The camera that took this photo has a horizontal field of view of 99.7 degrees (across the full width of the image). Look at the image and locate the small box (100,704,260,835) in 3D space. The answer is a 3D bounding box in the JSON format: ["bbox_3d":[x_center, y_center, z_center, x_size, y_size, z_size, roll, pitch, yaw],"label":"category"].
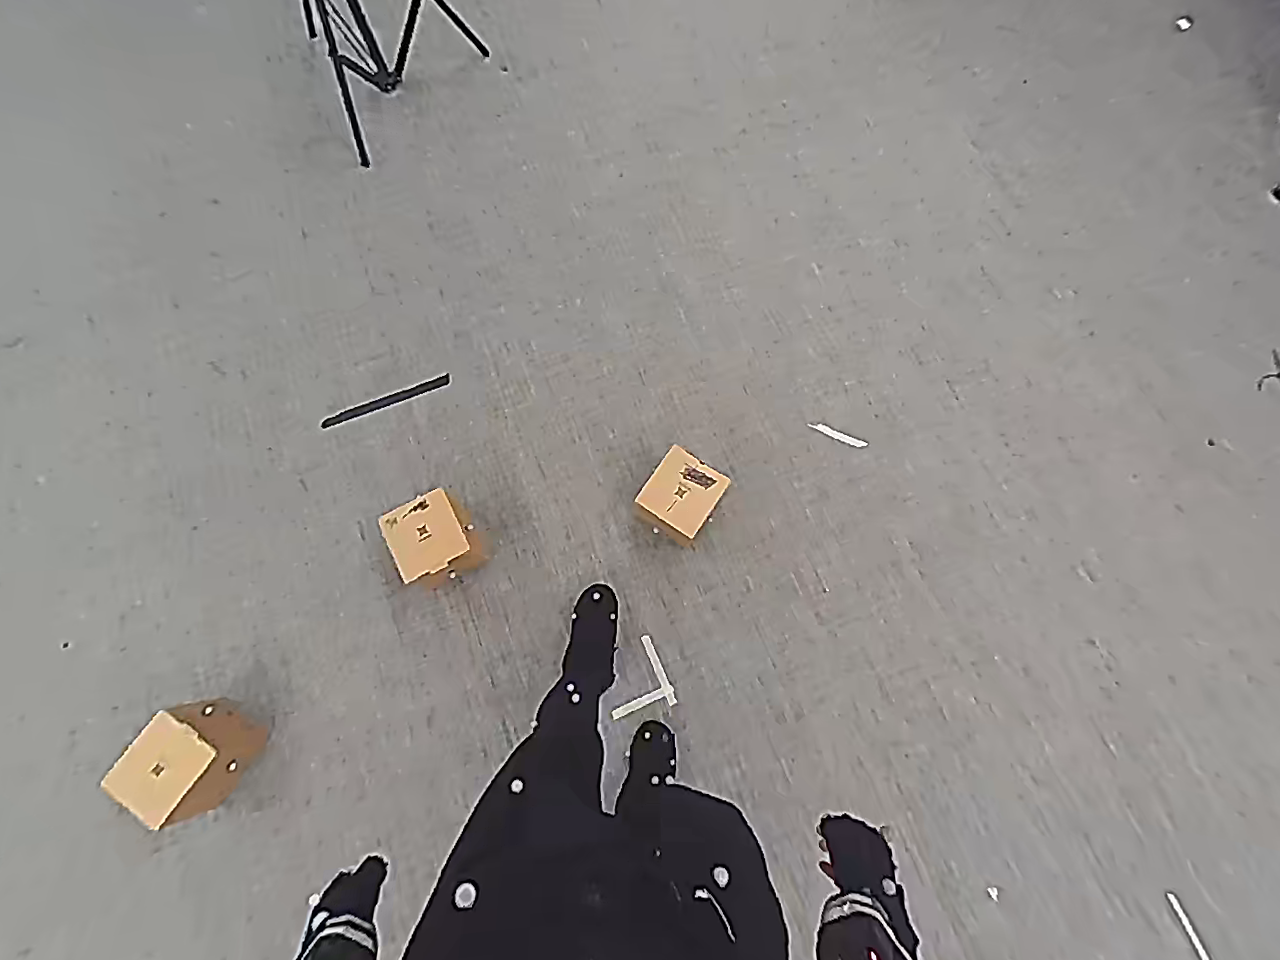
[{"bbox_3d":[-0.982,0.615,1.178,0.168,0.176,0.179,31,77,9],"label":"small box"}]

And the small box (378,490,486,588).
[{"bbox_3d":[-0.496,0.150,1.315,0.168,0.176,0.179,-28,77,-8],"label":"small box"}]

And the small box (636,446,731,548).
[{"bbox_3d":[0.101,0.050,1.352,0.168,0.176,0.179,34,78,8],"label":"small box"}]
